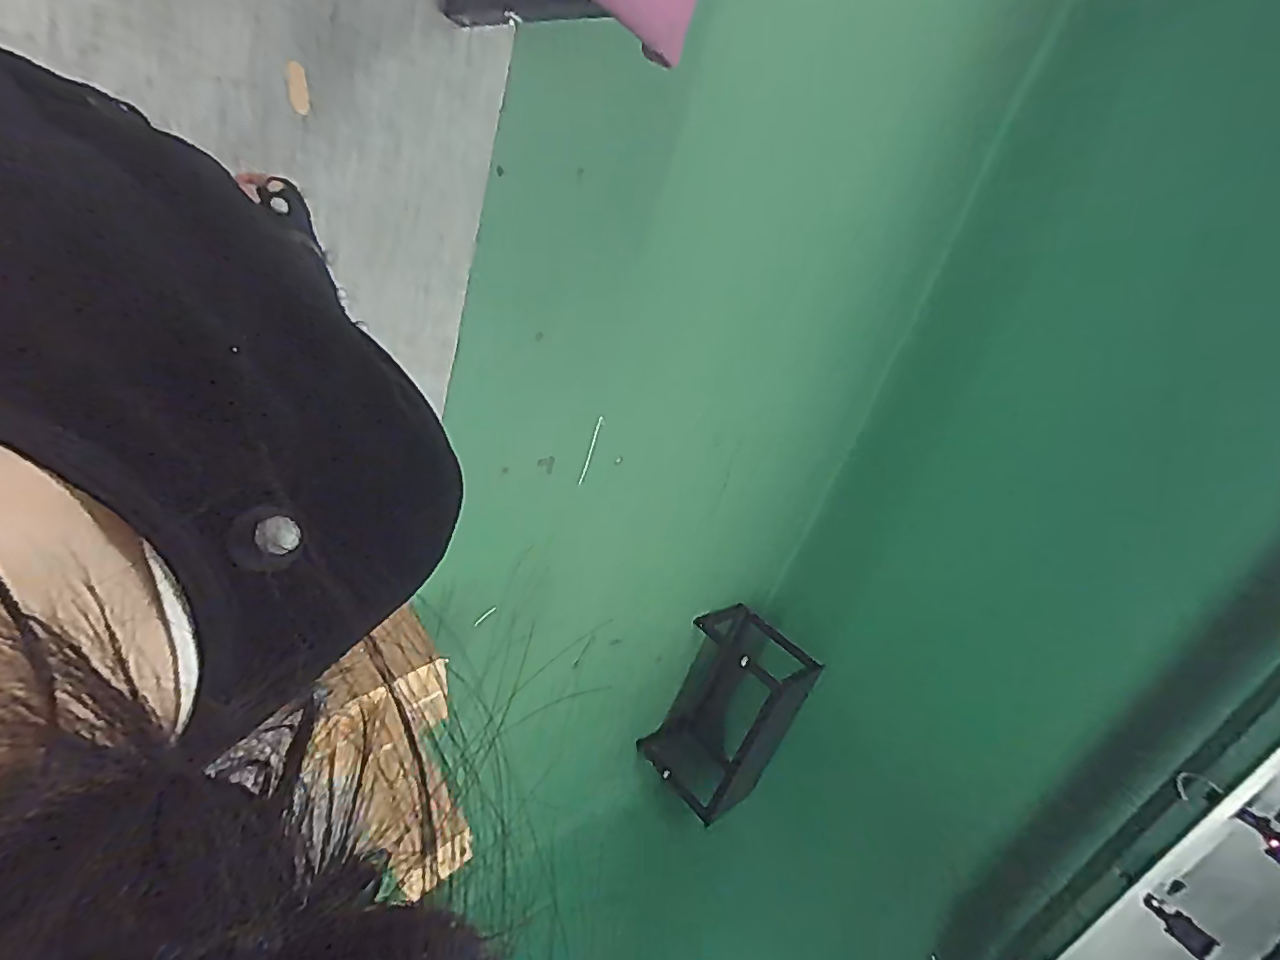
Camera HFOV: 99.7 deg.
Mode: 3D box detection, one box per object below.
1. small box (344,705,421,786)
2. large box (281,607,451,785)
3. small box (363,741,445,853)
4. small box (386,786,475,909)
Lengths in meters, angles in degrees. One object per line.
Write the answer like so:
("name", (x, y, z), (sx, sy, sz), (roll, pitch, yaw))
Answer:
("small box", (-0.770, 0.811, 1.627), (0.168, 0.176, 0.179), (-19, 130, -38))
("large box", (-0.901, 0.699, 1.806), (0.408, 0.320, 0.320), (-21, 133, -39))
("small box", (-0.666, 0.888, 1.528), (0.179, 0.176, 0.168), (-20, 131, -37))
("small box", (-0.556, 0.965, 1.432), (0.179, 0.176, 0.168), (-19, 130, -37))
